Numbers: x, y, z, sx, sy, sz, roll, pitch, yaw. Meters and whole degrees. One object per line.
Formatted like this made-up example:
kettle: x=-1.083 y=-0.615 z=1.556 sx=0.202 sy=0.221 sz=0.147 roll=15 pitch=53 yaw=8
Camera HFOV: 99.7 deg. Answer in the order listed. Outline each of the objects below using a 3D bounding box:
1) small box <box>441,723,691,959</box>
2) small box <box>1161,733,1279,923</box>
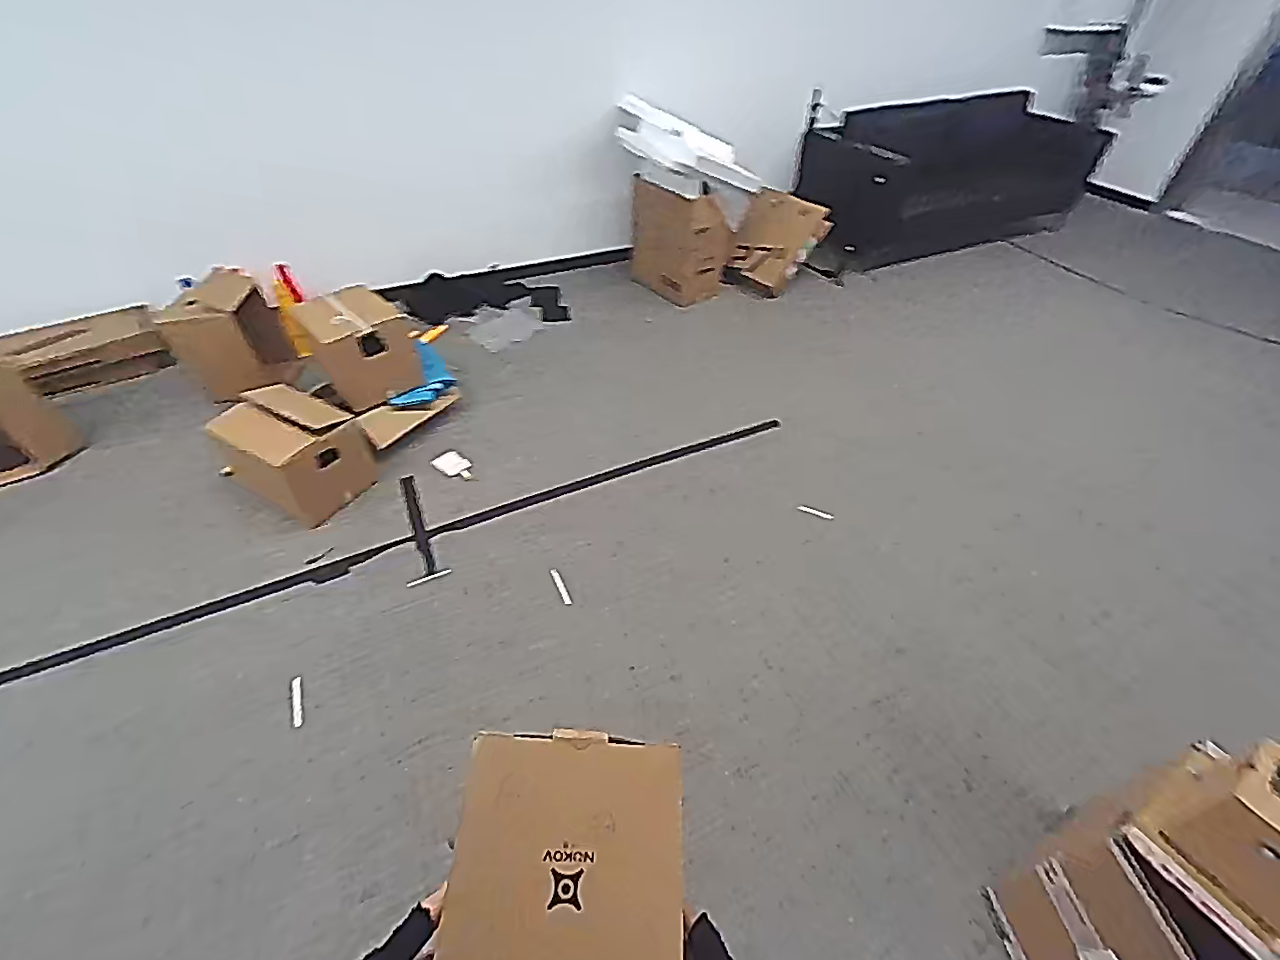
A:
small box: x=-0.057 y=0.316 z=0.448 sx=0.168 sy=0.176 sz=0.179 roll=7 pitch=56 yaw=-5
small box: x=0.997 y=0.550 z=0.854 sx=0.168 sy=0.176 sz=0.179 roll=-22 pitch=48 yaw=-26
